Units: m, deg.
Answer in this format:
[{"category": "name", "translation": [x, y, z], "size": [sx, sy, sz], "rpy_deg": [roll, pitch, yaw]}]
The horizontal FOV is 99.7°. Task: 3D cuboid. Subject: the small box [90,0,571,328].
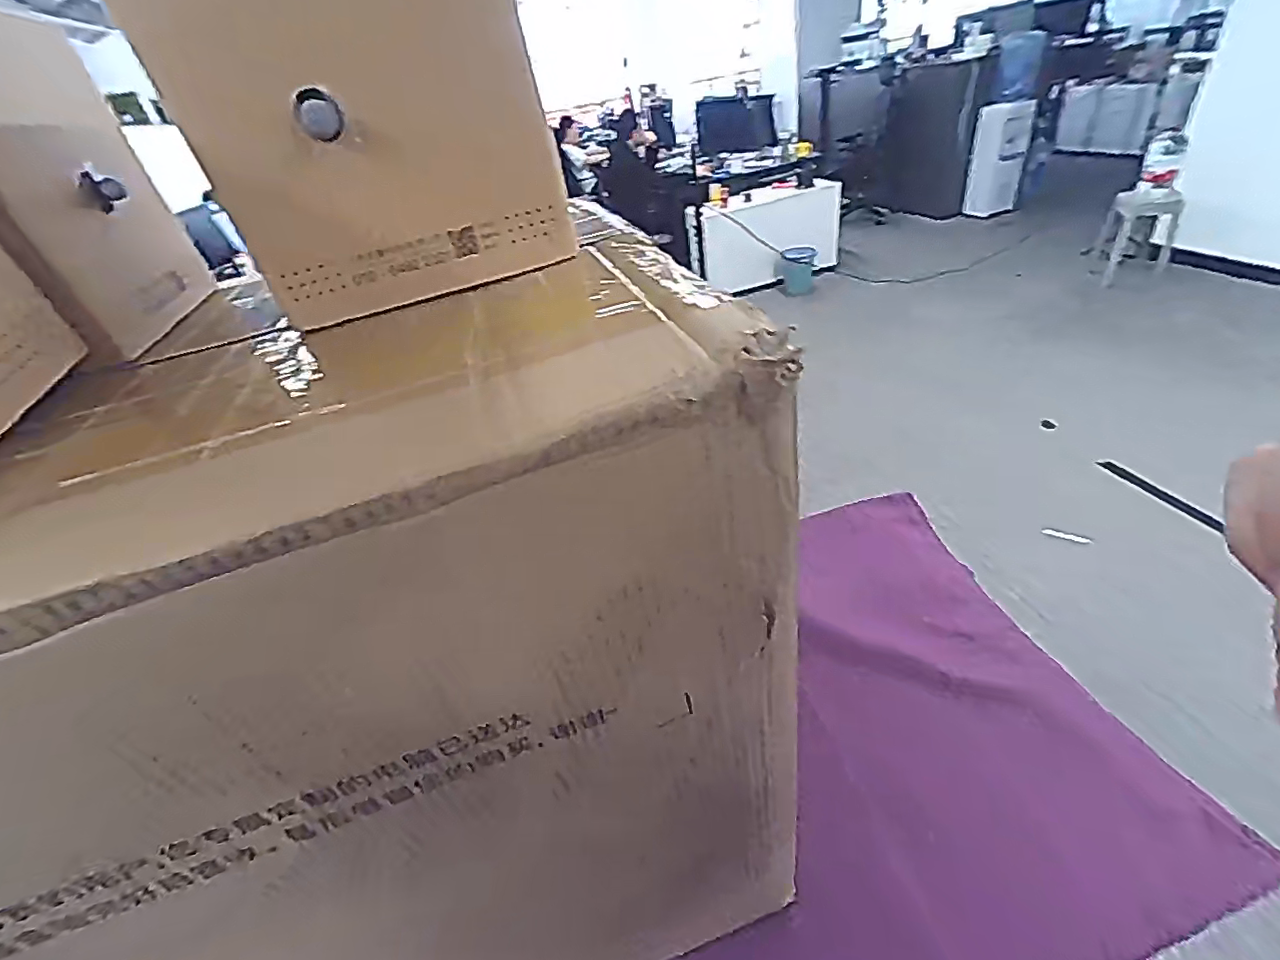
[{"category": "small box", "translation": [-0.152, -0.208, 0.328], "size": [0.168, 0.176, 0.179], "rpy_deg": [-20, 36, -9]}]
